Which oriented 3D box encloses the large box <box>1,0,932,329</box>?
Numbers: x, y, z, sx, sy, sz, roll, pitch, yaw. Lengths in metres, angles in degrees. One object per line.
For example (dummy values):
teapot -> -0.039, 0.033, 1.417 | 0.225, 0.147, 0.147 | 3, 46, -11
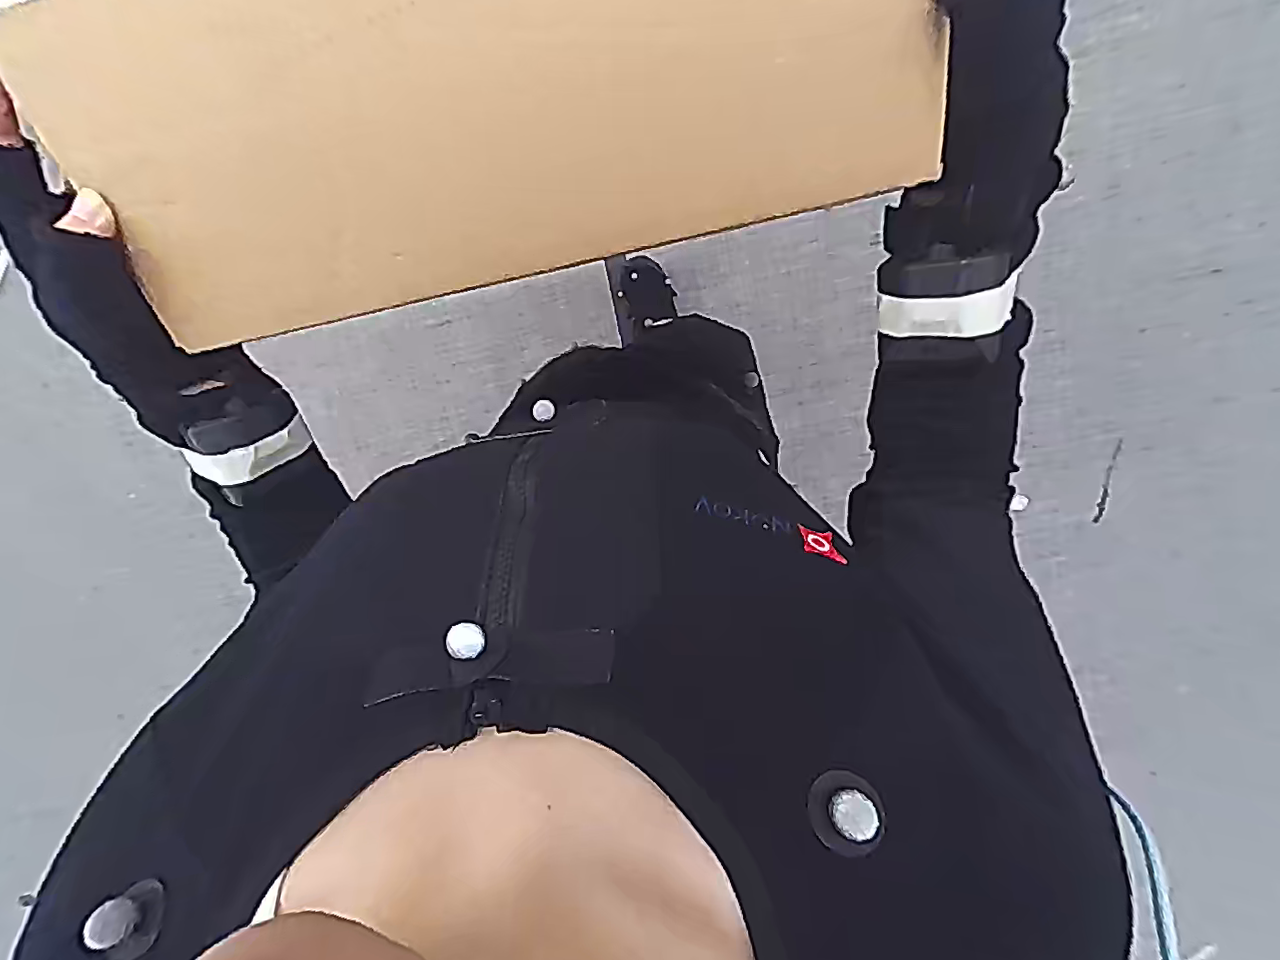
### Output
large box -> -0.088, -0.325, 0.341 | 0.408, 0.320, 0.320 | -11, 120, 7
